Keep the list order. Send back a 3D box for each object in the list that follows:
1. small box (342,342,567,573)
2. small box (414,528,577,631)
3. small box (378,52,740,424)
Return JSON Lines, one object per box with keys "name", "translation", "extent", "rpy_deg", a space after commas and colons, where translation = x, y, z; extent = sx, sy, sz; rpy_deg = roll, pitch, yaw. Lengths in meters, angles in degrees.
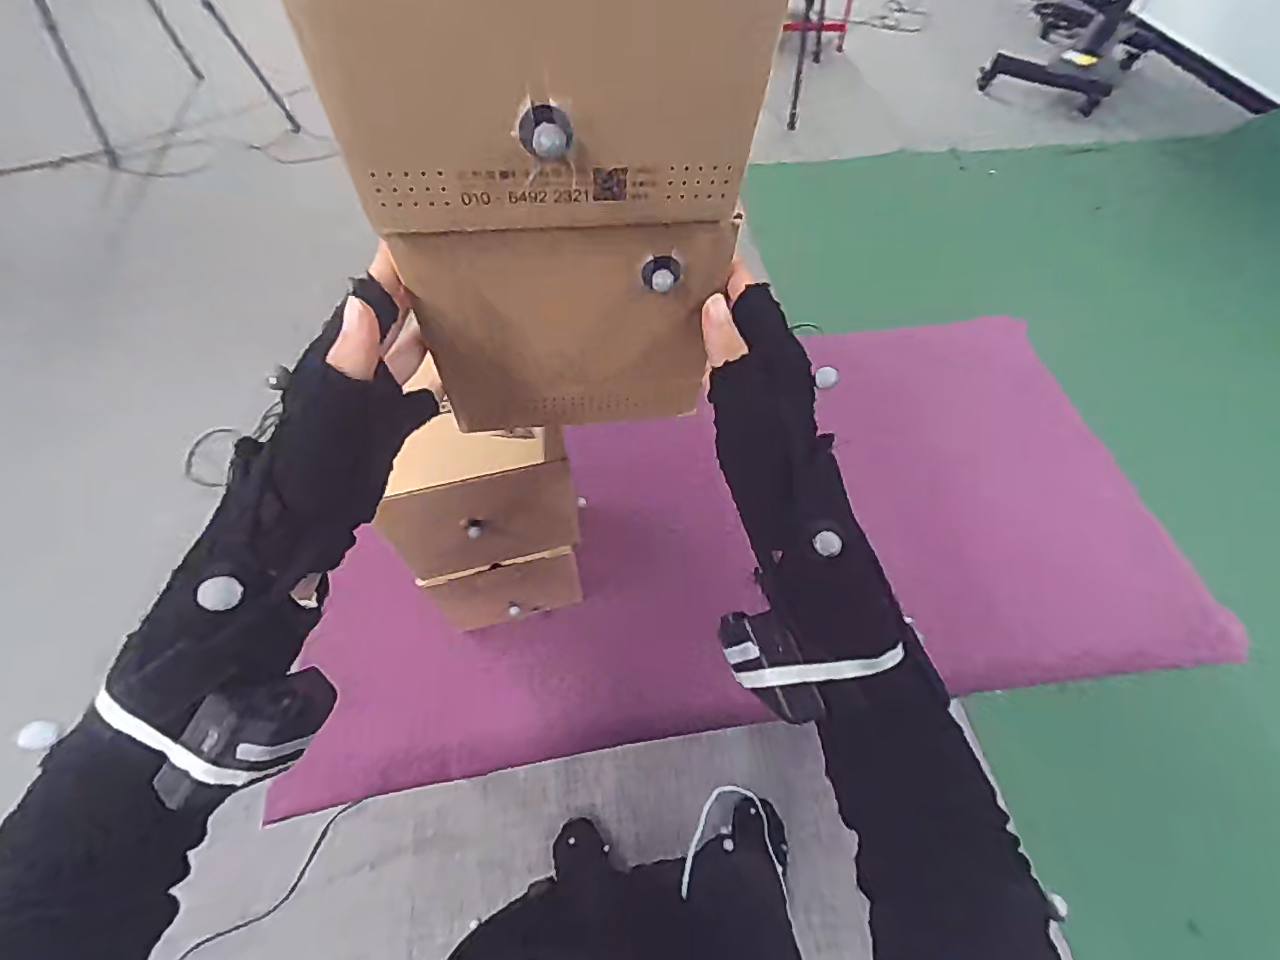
{"name": "small box", "translation": [-0.172, -0.023, 0.550], "extent": [0.179, 0.176, 0.168], "rpy_deg": [-10, 57, -8]}
{"name": "small box", "translation": [-0.181, 0.069, 0.690], "extent": [0.168, 0.176, 0.179], "rpy_deg": [-13, 59, -8]}
{"name": "small box", "translation": [-0.050, -0.151, 0.364], "extent": [0.179, 0.176, 0.168], "rpy_deg": [-5, 61, -8]}
